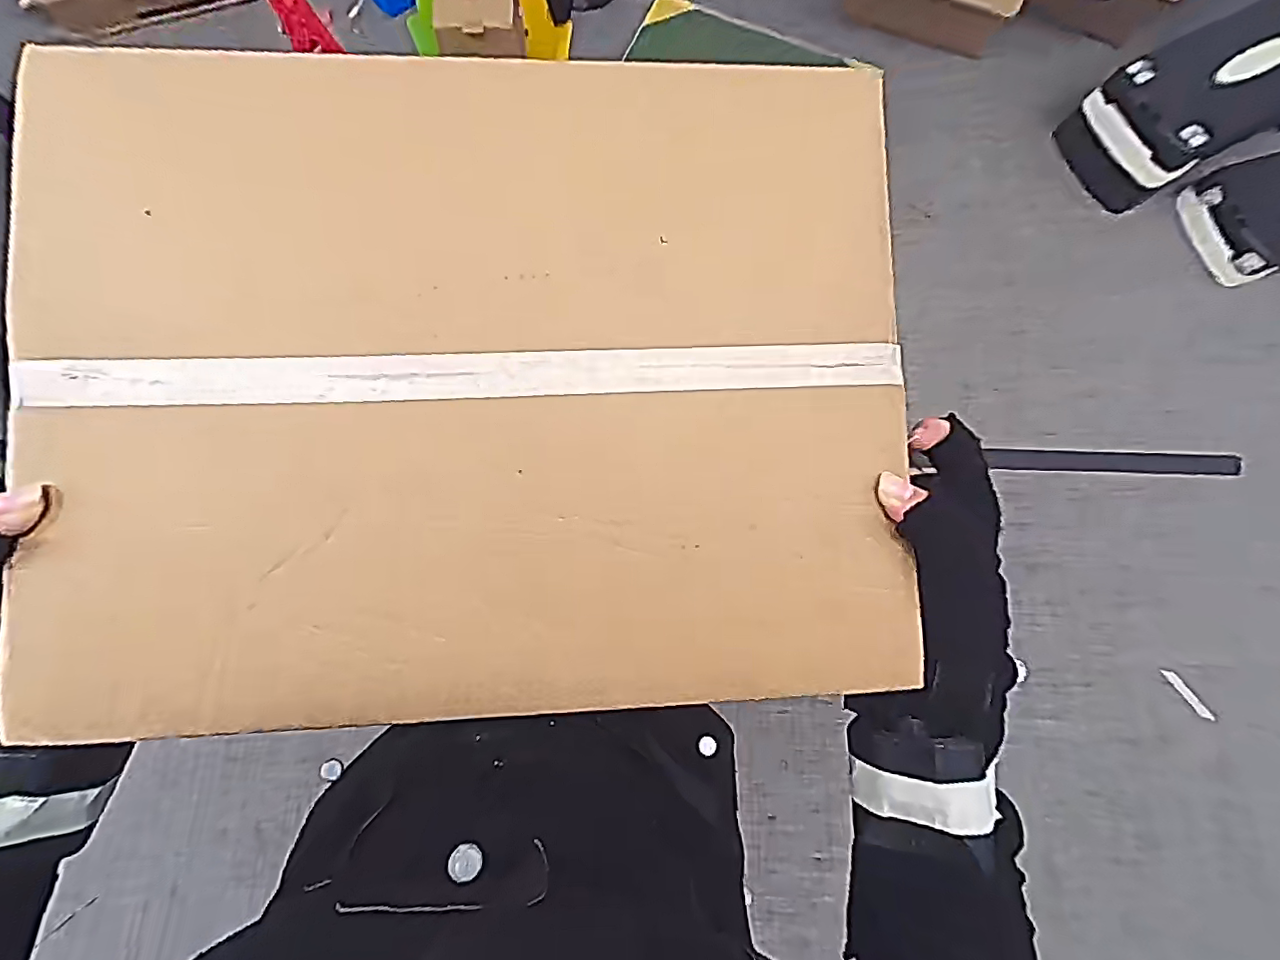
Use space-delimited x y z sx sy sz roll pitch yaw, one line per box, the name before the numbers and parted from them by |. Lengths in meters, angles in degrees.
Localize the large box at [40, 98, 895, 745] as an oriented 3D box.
large box | -0.085 -0.033 0.415 0.408 0.320 0.320 -2 85 -5
